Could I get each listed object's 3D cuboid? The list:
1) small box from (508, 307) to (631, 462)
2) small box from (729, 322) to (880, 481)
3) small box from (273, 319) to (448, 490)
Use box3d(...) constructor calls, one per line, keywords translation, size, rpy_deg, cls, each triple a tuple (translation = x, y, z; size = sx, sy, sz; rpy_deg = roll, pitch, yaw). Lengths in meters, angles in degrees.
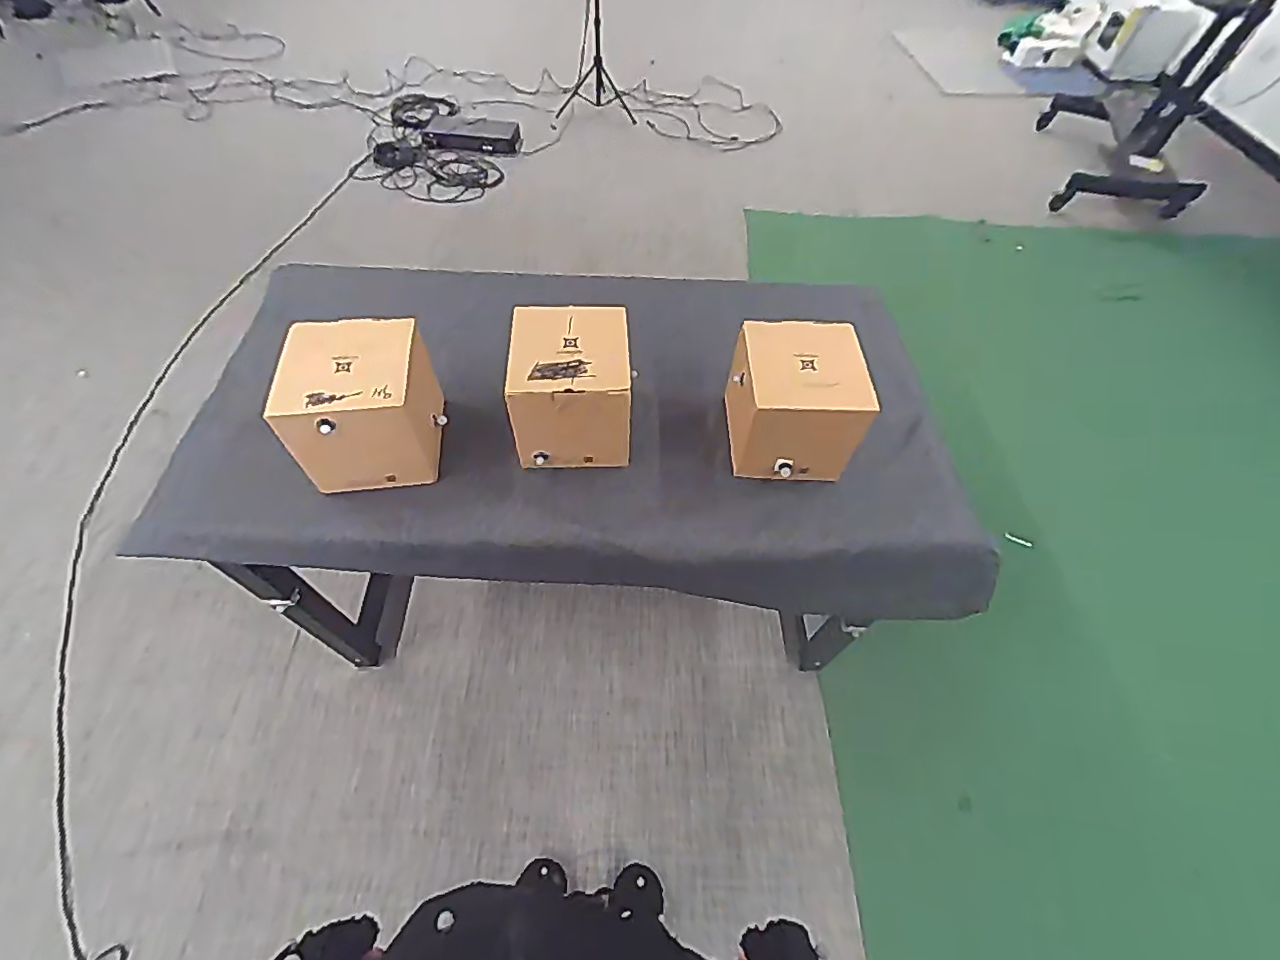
box3d(translation=(-0.098, -0.139, 0.820), size=(0.168, 0.176, 0.179), rpy_deg=(-1, 55, -4), cls="small box")
box3d(translation=(0.234, -0.117, 0.824), size=(0.168, 0.176, 0.179), rpy_deg=(0, 56, -1), cls="small box")
box3d(translation=(-0.384, -0.108, 0.782), size=(0.168, 0.176, 0.179), rpy_deg=(-6, 54, -6), cls="small box")
